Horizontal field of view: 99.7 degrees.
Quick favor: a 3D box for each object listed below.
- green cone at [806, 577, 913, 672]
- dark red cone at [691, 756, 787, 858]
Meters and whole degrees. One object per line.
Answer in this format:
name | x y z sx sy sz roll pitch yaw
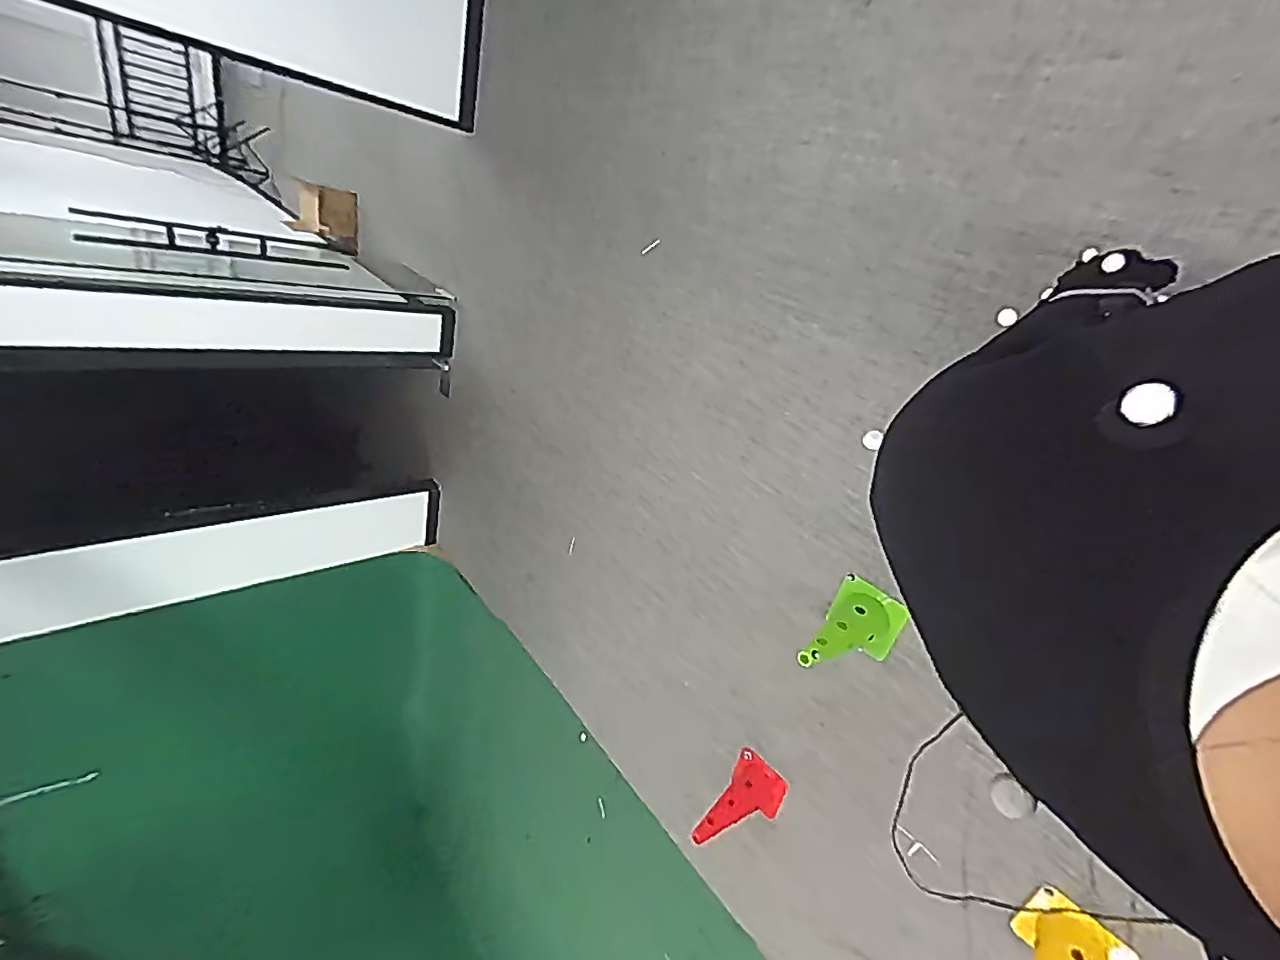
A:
green cone | 0.557 0.438 1.482 0.202 0.368 0.200 35 122 36
dark red cone | 0.314 1.157 1.857 0.202 0.394 0.201 31 121 39
